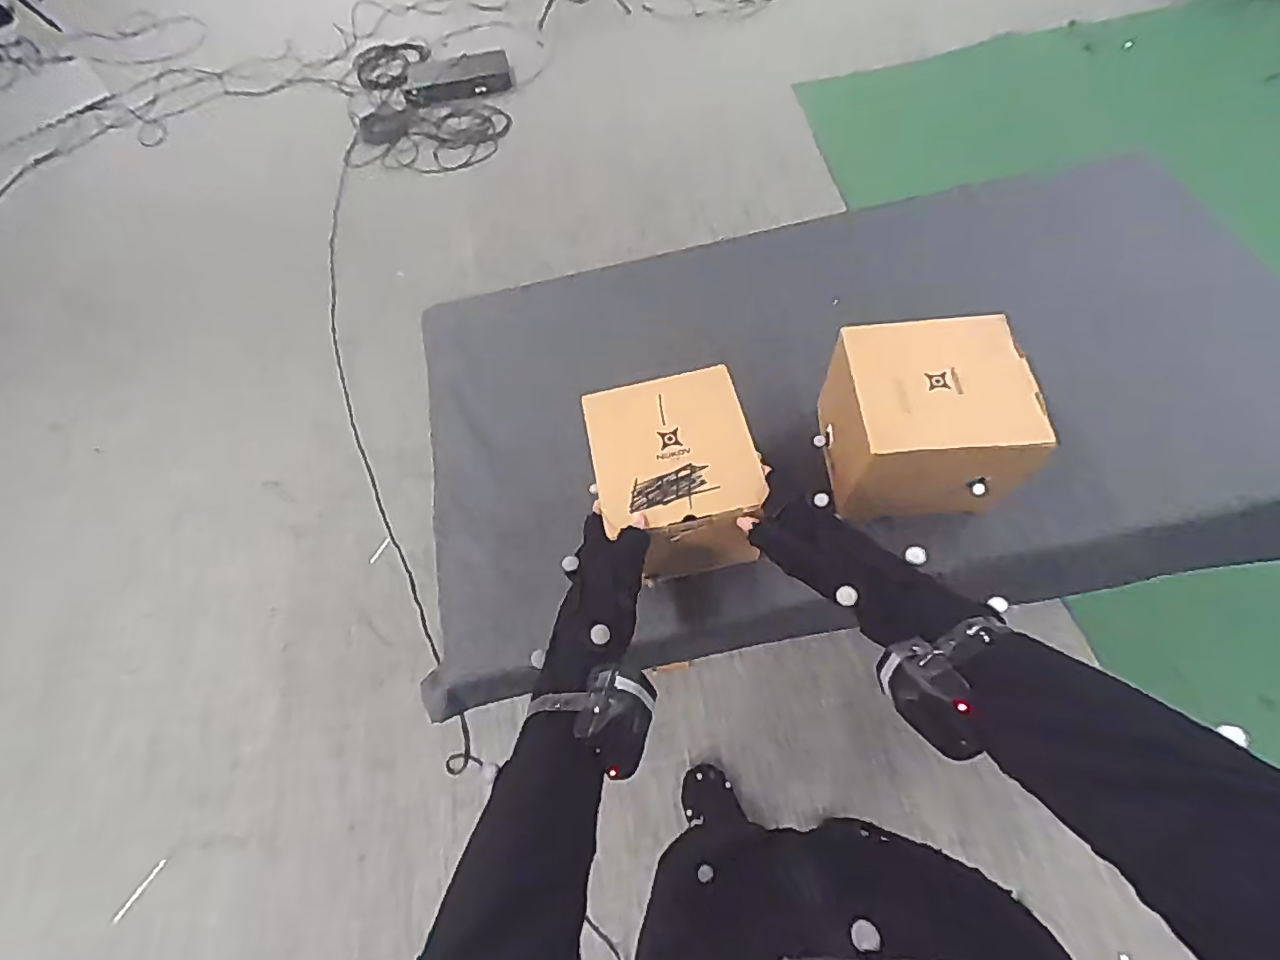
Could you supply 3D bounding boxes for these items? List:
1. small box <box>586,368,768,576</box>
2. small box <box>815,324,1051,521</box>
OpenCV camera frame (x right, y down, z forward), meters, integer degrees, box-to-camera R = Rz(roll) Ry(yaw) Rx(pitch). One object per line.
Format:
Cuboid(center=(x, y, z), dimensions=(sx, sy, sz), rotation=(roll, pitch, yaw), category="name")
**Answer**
Cuboid(center=(0.042, 0.002, 0.632), dimensions=(0.168, 0.176, 0.179), rotation=(-11, 62, 0), category="small box")
Cuboid(center=(0.320, -0.059, 0.635), dimensions=(0.179, 0.176, 0.168), rotation=(-3, 63, 5), category="small box")
